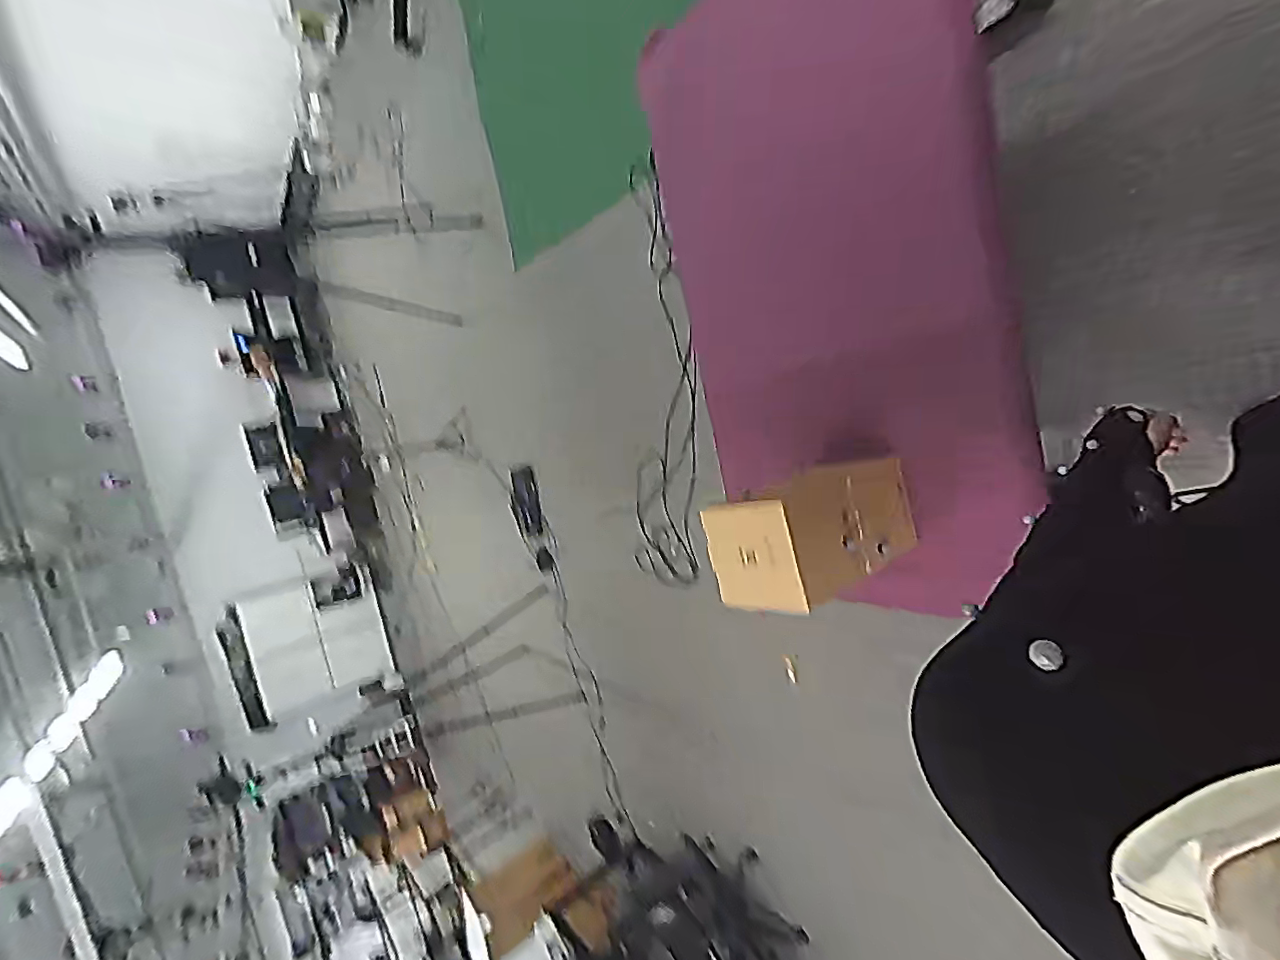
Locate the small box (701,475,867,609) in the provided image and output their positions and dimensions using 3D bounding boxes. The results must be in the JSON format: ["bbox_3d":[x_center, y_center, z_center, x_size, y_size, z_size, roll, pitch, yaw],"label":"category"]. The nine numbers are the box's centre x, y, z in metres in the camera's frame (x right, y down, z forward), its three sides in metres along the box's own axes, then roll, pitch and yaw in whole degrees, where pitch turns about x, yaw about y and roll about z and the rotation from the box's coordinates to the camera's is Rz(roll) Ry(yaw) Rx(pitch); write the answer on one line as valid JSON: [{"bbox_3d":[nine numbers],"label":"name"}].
[{"bbox_3d":[0.232,0.095,0.874,0.179,0.176,0.168,-11,95,53],"label":"small box"}]
